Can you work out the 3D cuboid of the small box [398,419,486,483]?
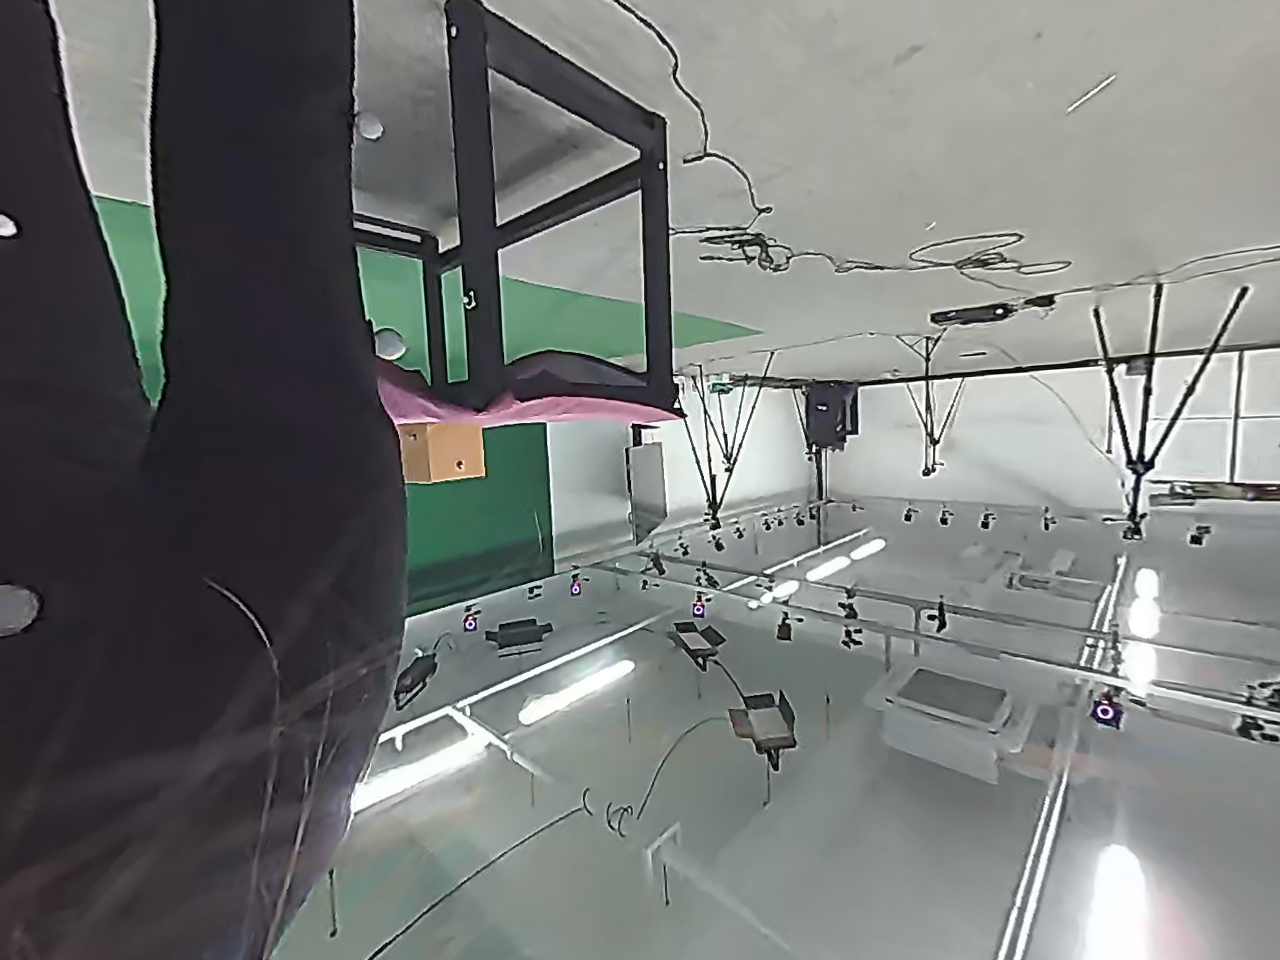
[{"bbox_3d":[-0.570,-0.087,1.556,0.168,0.176,0.179,1,-174,38],"label":"small box"}]
